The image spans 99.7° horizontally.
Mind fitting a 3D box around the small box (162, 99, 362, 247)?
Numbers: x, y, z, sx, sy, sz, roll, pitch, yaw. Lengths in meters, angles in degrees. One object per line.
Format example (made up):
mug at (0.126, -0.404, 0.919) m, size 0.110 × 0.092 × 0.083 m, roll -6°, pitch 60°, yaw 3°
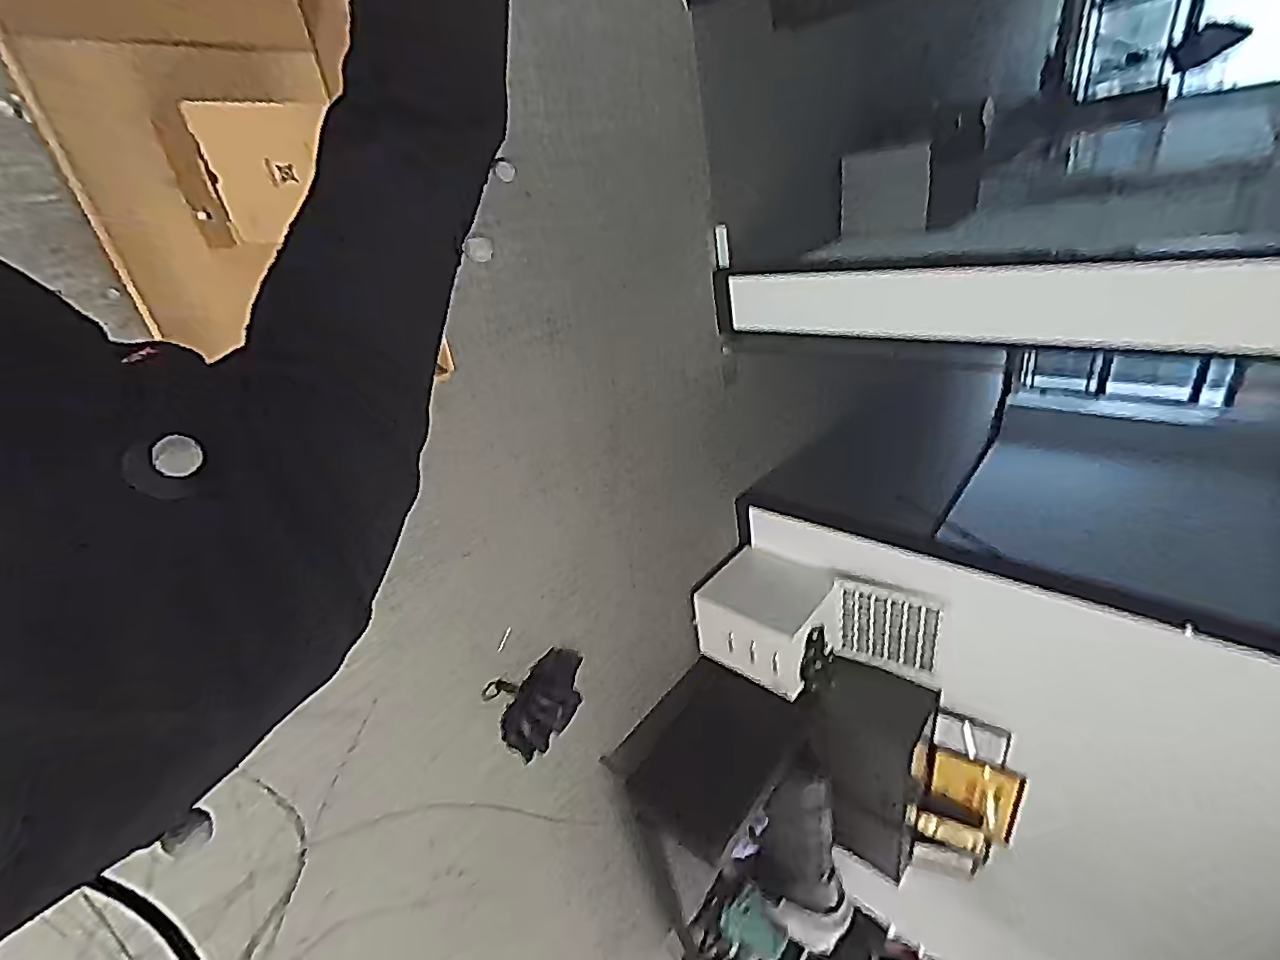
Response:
small box at (-0.550, -0.440, 0.787) m, size 0.179 × 0.176 × 0.168 m, roll -35°, pitch 130°, yaw -40°
